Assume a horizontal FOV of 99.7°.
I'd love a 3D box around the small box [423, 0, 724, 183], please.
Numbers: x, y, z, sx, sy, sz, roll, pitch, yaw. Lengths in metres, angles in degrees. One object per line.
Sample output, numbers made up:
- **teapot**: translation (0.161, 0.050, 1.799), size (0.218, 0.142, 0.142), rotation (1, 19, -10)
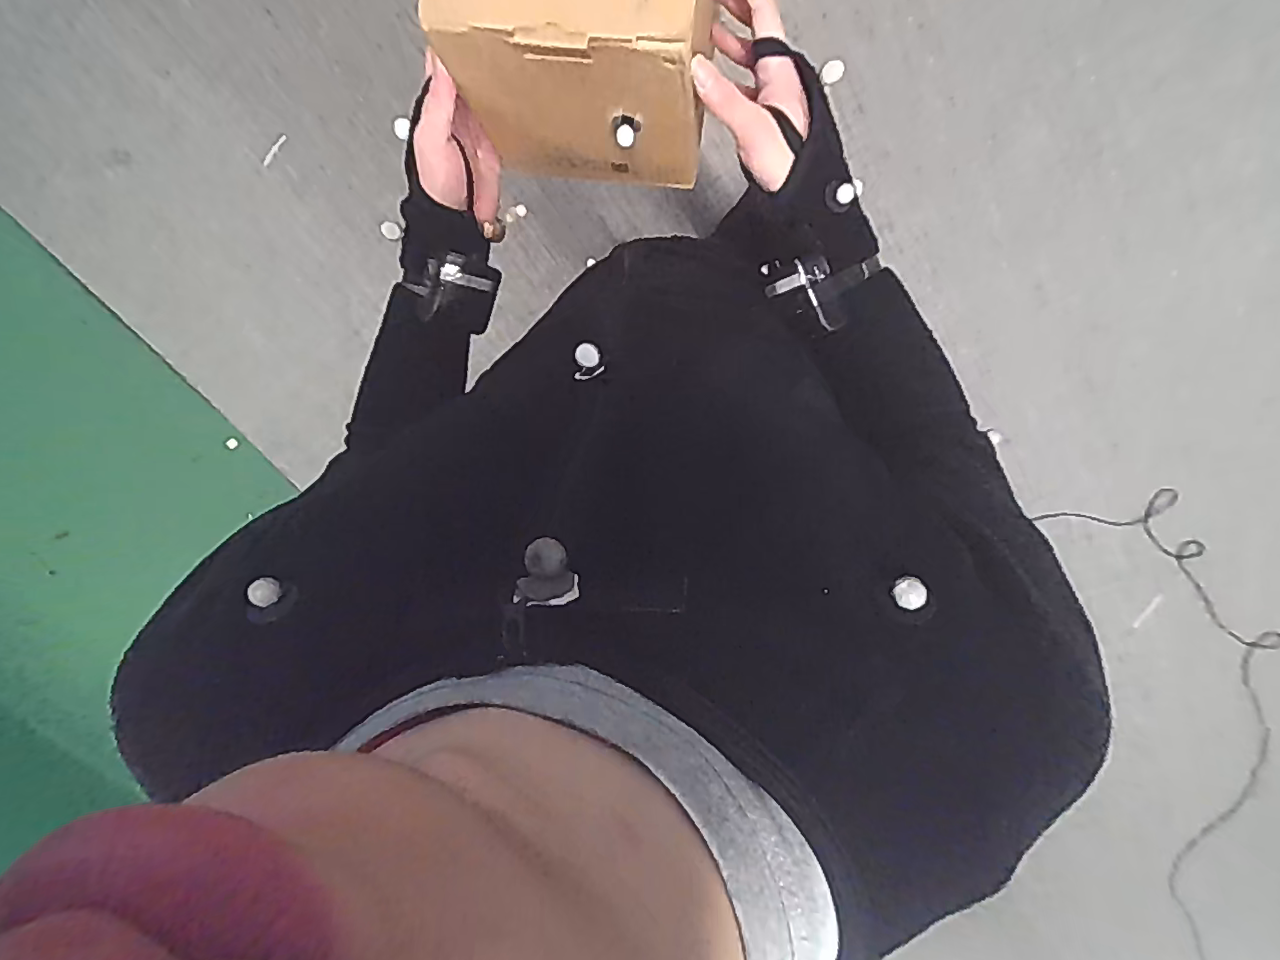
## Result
- **small box**: translation (-0.027, -0.344, 0.385), size (0.168, 0.176, 0.179), rotation (9, 91, 4)
